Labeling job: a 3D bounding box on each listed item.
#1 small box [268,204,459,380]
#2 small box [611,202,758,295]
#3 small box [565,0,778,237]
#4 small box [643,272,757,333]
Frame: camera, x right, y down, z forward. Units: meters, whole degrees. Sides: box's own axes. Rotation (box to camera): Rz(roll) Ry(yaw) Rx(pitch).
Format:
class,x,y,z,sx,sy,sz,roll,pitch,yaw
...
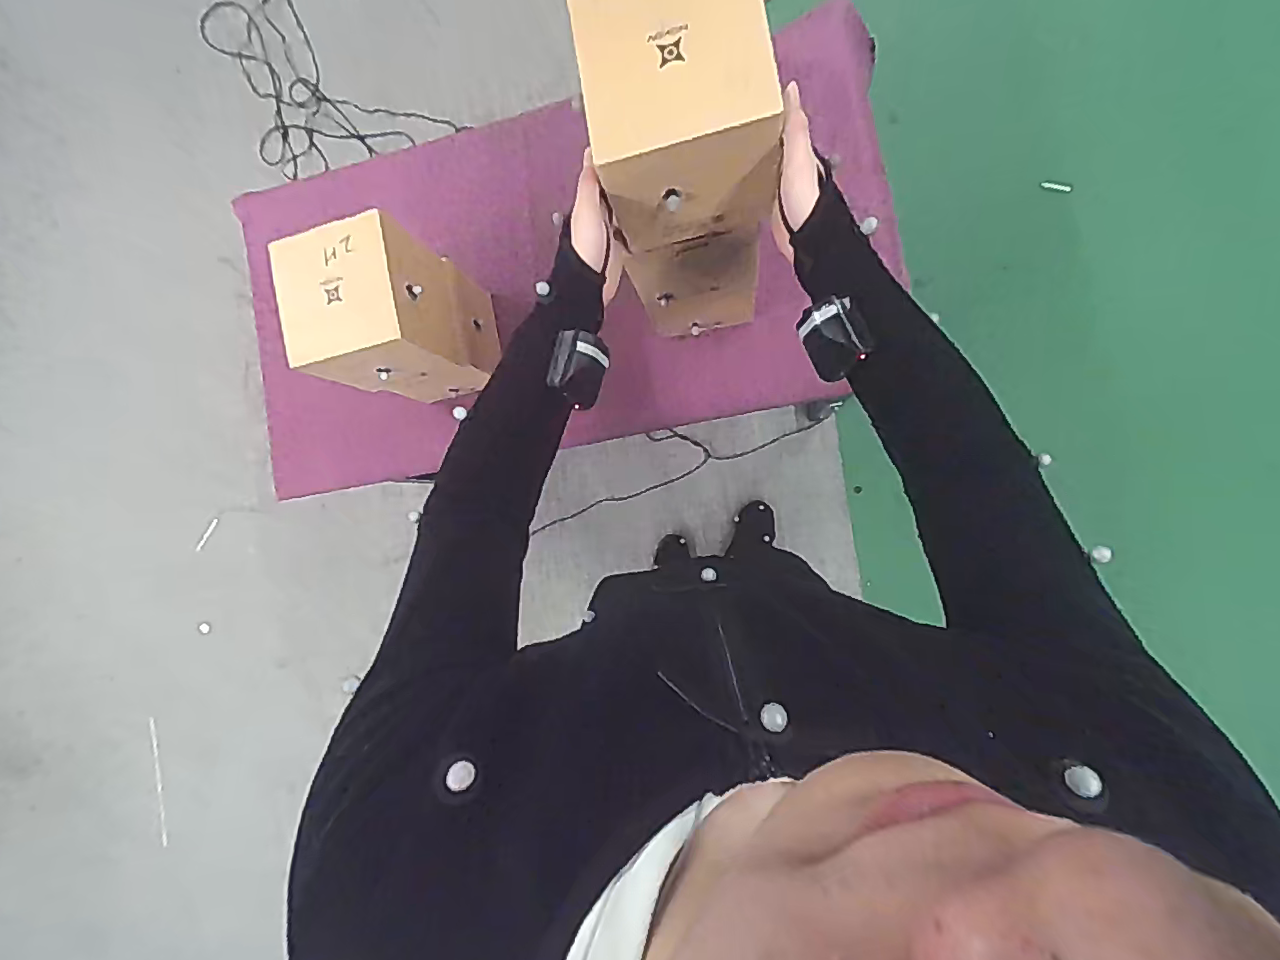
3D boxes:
class,x,y,z,sx,sy,sz,roll,pitch,yaw
small box,-0.379,-0.249,0.769,0.168,0.176,0.179,-11,87,9
small box,0.059,-0.356,0.695,0.168,0.176,0.179,-9,85,11
small box,0.040,-0.367,0.534,0.168,0.176,0.179,-10,85,11
small box,0.090,-0.353,0.855,0.168,0.176,0.179,-8,87,11
